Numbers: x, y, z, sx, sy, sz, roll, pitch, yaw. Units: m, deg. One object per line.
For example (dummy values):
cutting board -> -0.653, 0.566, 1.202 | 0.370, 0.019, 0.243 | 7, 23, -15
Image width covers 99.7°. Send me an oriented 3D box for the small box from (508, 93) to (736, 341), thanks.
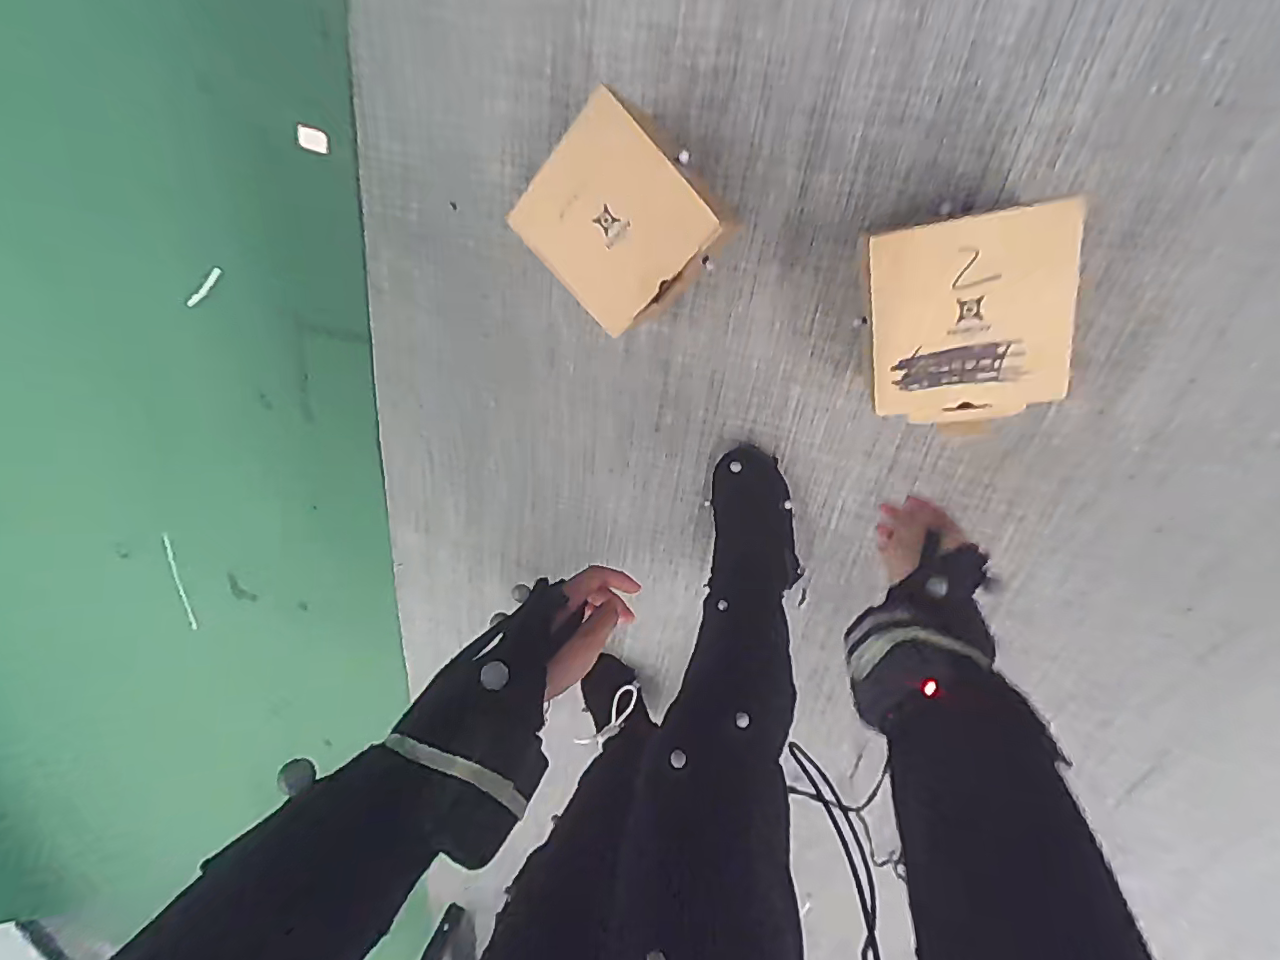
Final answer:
small box -> -0.009, -0.293, 0.626 | 0.179, 0.176, 0.168 | 47, 118, -6
